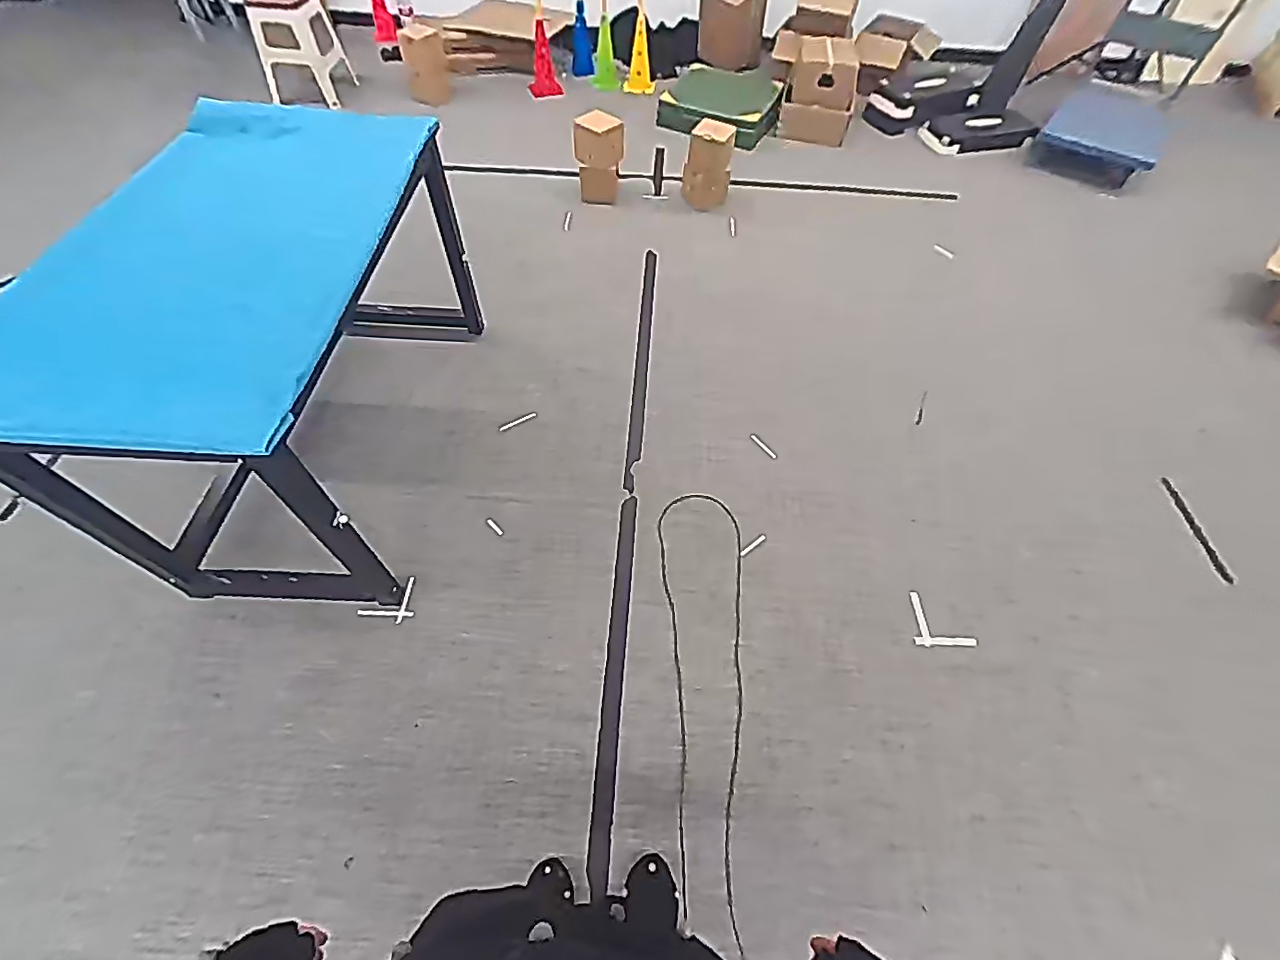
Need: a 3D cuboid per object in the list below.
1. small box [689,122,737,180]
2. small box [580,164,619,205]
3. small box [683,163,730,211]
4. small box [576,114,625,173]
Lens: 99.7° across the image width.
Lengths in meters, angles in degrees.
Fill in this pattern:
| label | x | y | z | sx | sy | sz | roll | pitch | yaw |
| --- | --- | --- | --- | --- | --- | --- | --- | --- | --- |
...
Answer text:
| label | x | y | z | sx | sy | sz | roll | pitch | yaw |
| --- | --- | --- | --- | --- | --- | --- | --- | --- | --- |
| small box | 0.340 | -1.561 | 2.572 | 0.168 | 0.176 | 0.179 | 24 | 57 | 11 |
| small box | -0.197 | -1.494 | 2.695 | 0.179 | 0.176 | 0.168 | 5 | 55 | 2 |
| small box | 0.328 | -1.479 | 2.713 | 0.179 | 0.176 | 0.168 | -22 | 61 | -17 |
| small box | -0.190 | -1.599 | 2.564 | 0.179 | 0.176 | 0.168 | 35 | 60 | 20 |
